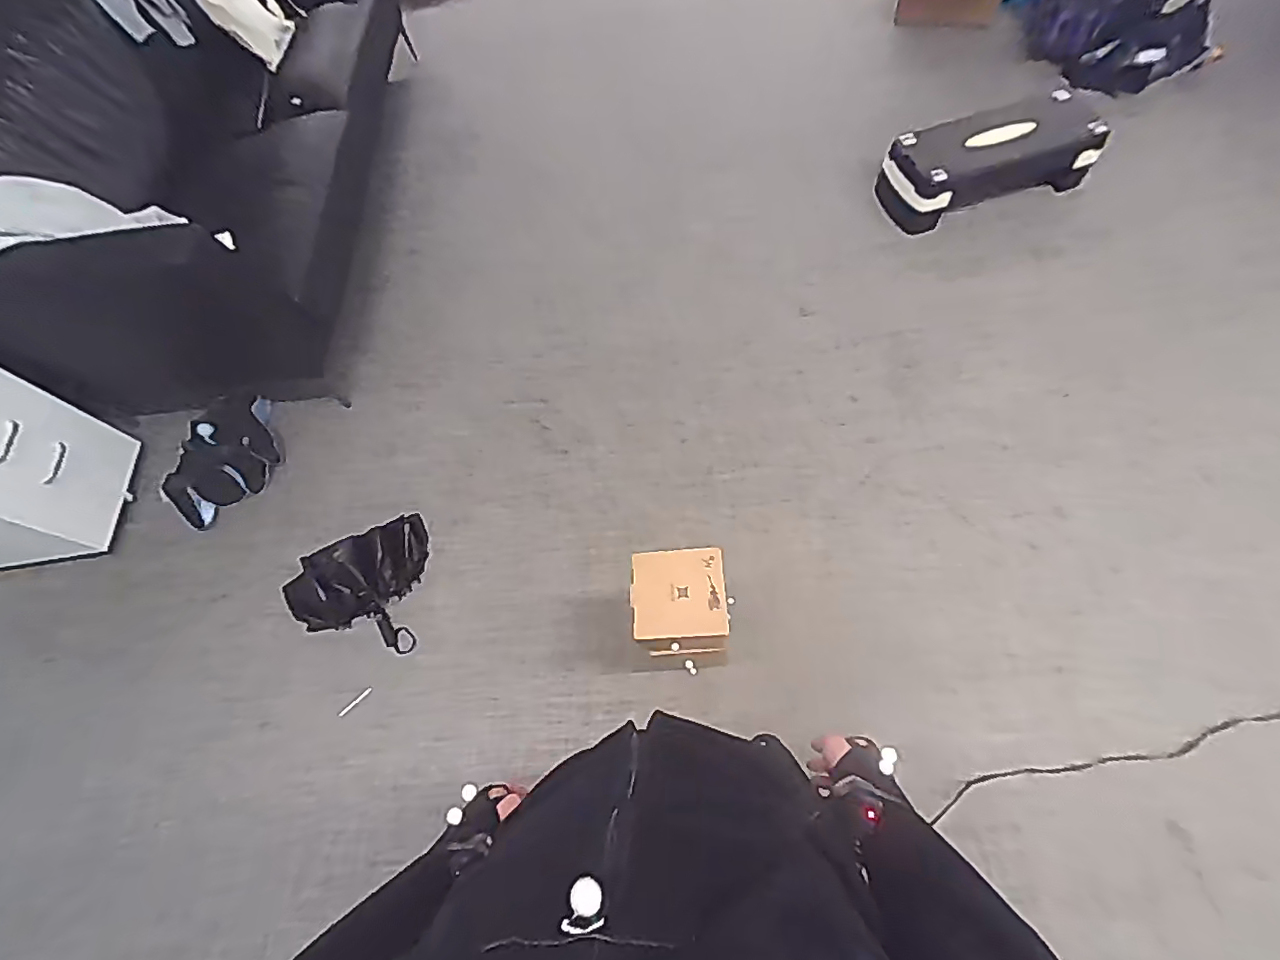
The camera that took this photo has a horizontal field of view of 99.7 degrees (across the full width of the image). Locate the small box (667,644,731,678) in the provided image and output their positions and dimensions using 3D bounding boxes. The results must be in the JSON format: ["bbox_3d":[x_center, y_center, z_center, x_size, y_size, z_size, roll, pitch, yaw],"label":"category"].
[{"bbox_3d":[0.135,0.397,1.370,0.168,0.176,0.179,-8,65,5],"label":"small box"}]

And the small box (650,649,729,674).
[{"bbox_3d":[0.108,0.332,1.221,0.168,0.176,0.179,-7,64,5],"label":"small box"}]

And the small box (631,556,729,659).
[{"bbox_3d":[0.082,0.259,1.076,0.179,0.176,0.168,-5,64,6],"label":"small box"}]
